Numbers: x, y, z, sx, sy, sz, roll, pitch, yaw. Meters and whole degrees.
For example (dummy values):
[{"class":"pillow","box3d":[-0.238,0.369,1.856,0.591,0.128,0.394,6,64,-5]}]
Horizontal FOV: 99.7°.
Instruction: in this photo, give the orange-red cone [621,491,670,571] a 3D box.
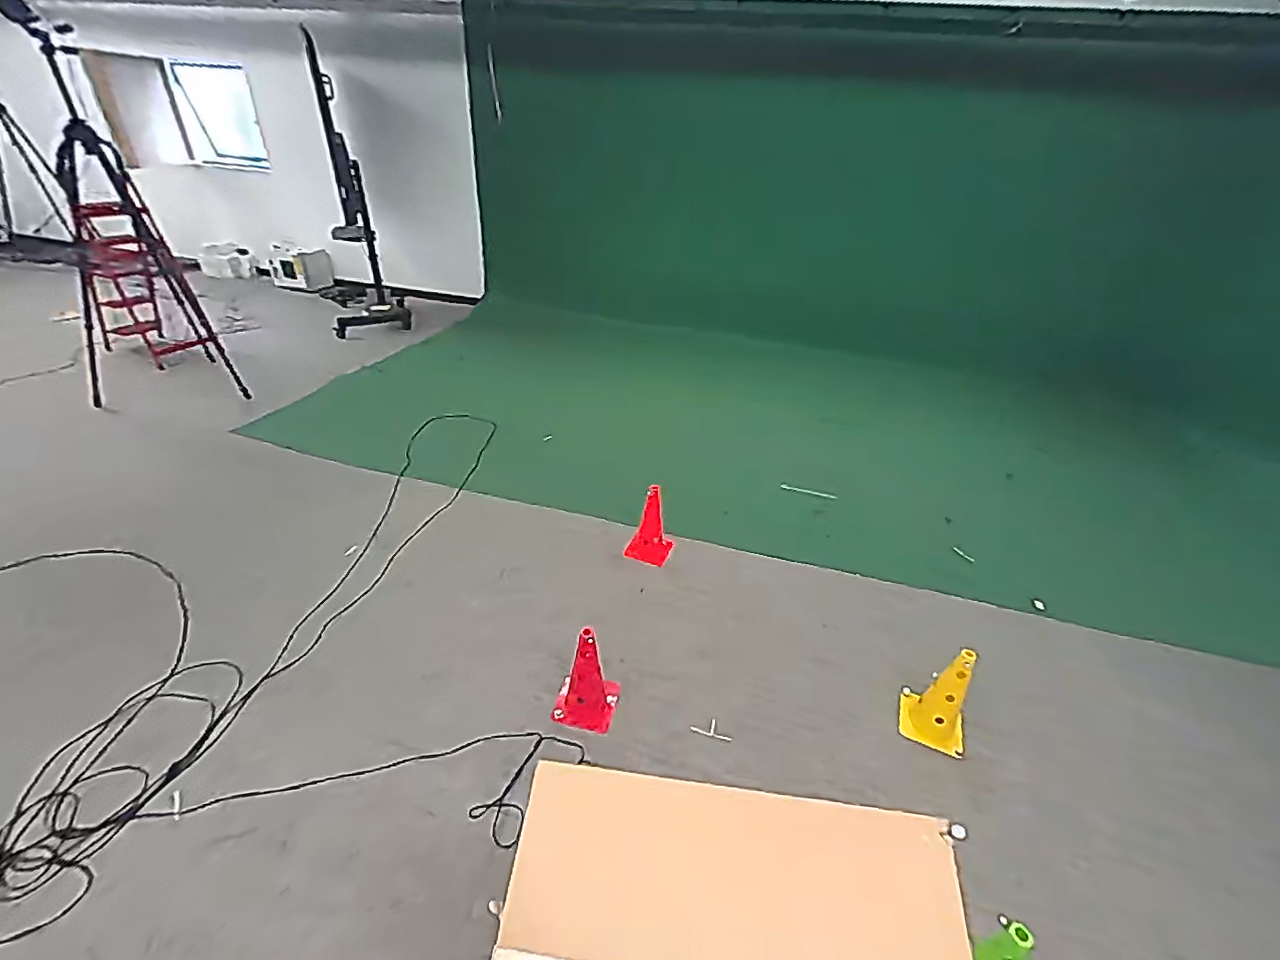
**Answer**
[{"class":"orange-red cone","box3d":[0.036,0.208,2.480,0.199,0.360,0.198,14,33,18]}]

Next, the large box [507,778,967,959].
[{"class":"large box","box3d":[0.078,0.532,0.566,0.408,0.320,0.320,5,54,4]}]
